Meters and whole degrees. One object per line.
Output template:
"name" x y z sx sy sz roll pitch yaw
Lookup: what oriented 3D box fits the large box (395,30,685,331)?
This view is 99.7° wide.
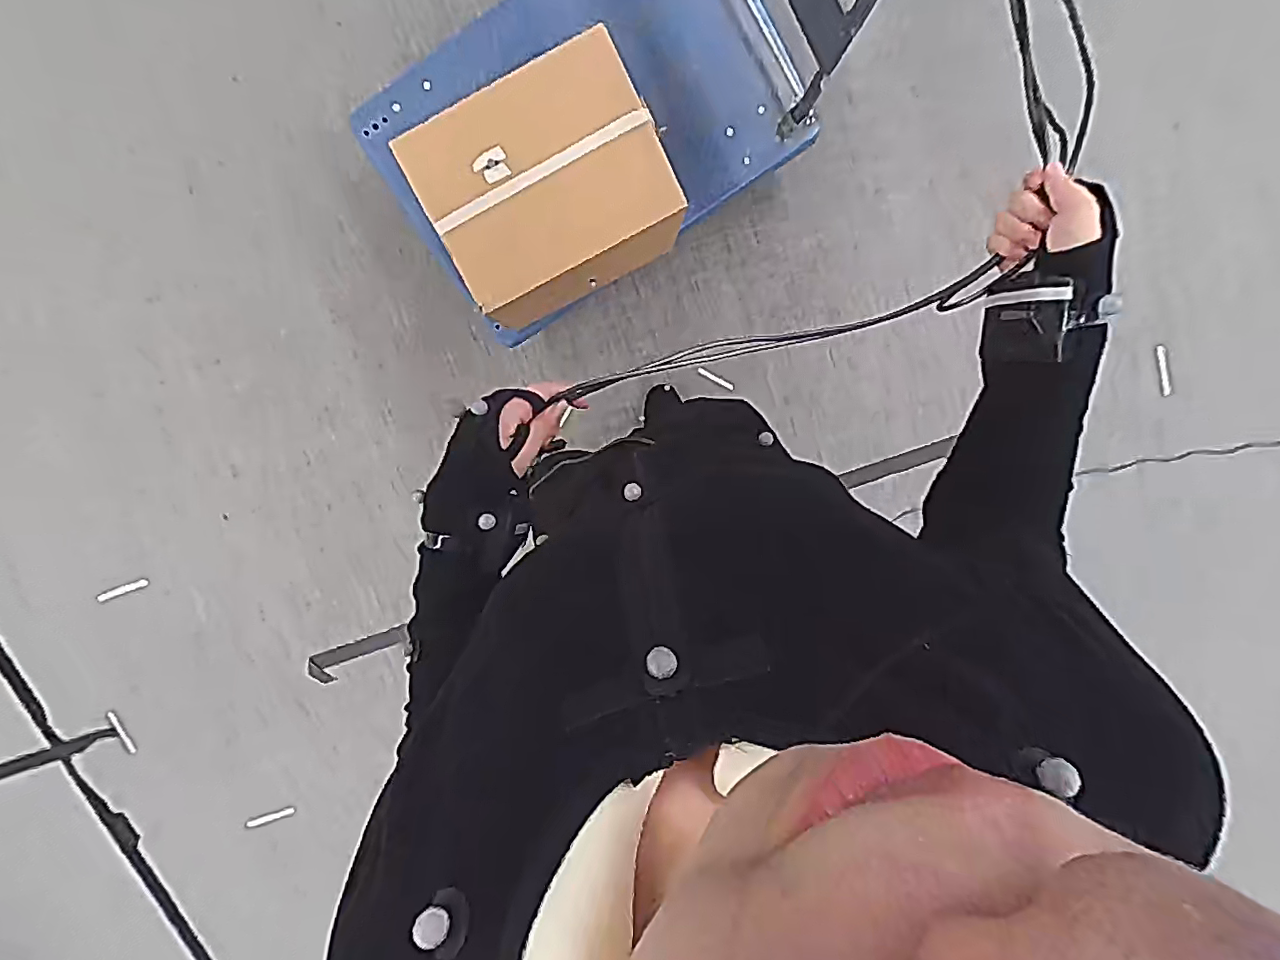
"large box" -0.167 -0.530 1.052 0.408 0.320 0.320 -27 99 4
